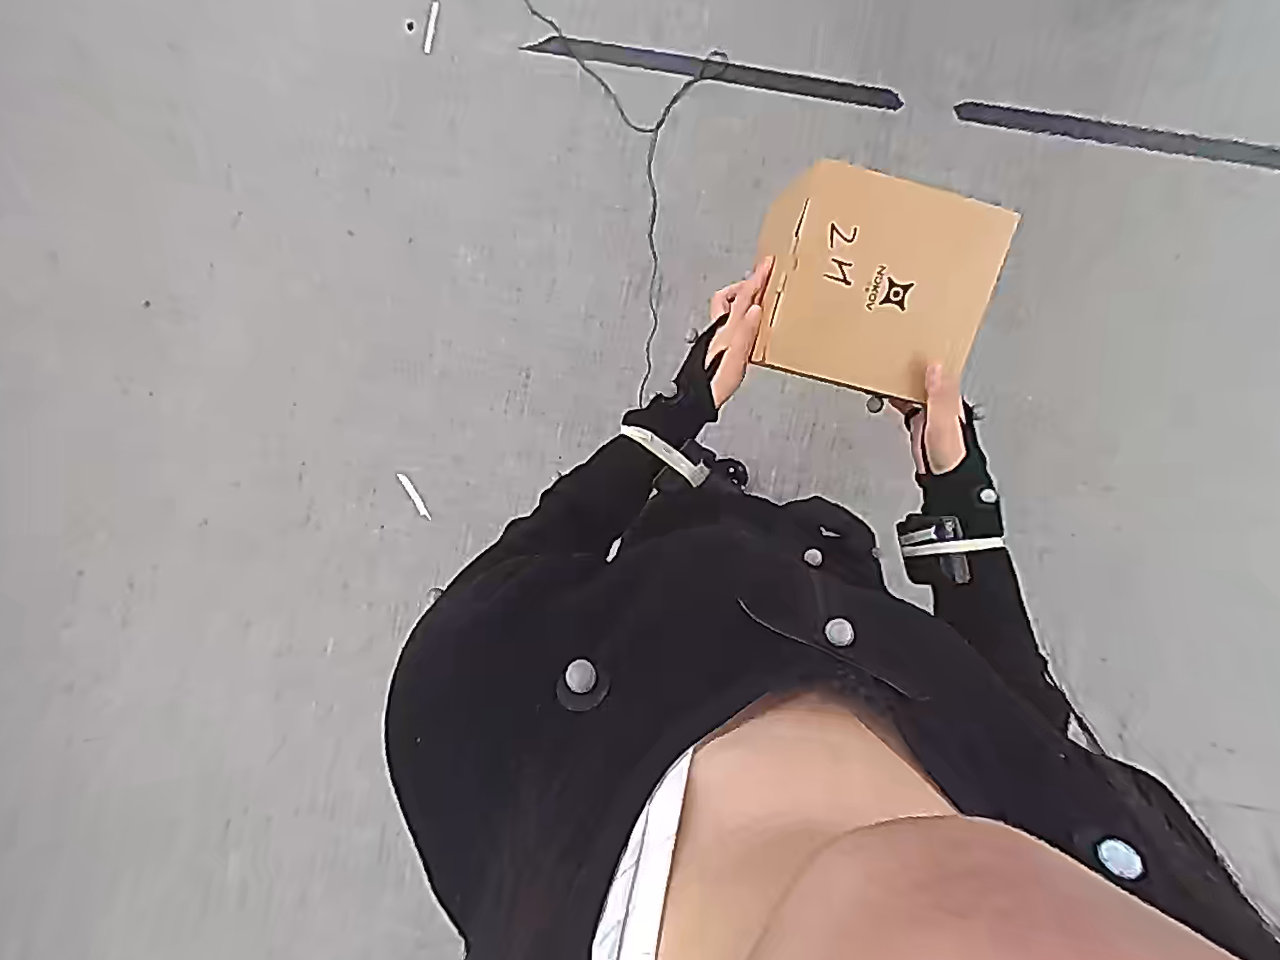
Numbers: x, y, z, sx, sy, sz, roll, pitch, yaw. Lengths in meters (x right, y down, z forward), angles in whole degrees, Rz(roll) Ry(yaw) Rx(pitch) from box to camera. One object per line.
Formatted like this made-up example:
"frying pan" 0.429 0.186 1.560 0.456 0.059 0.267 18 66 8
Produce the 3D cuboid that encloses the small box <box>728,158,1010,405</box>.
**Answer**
"small box" 0.202 -0.182 0.535 0.179 0.176 0.168 13 103 -4

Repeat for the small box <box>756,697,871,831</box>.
"small box" 0.349 0.575 1.120 0.179 0.176 0.168 12 92 7
